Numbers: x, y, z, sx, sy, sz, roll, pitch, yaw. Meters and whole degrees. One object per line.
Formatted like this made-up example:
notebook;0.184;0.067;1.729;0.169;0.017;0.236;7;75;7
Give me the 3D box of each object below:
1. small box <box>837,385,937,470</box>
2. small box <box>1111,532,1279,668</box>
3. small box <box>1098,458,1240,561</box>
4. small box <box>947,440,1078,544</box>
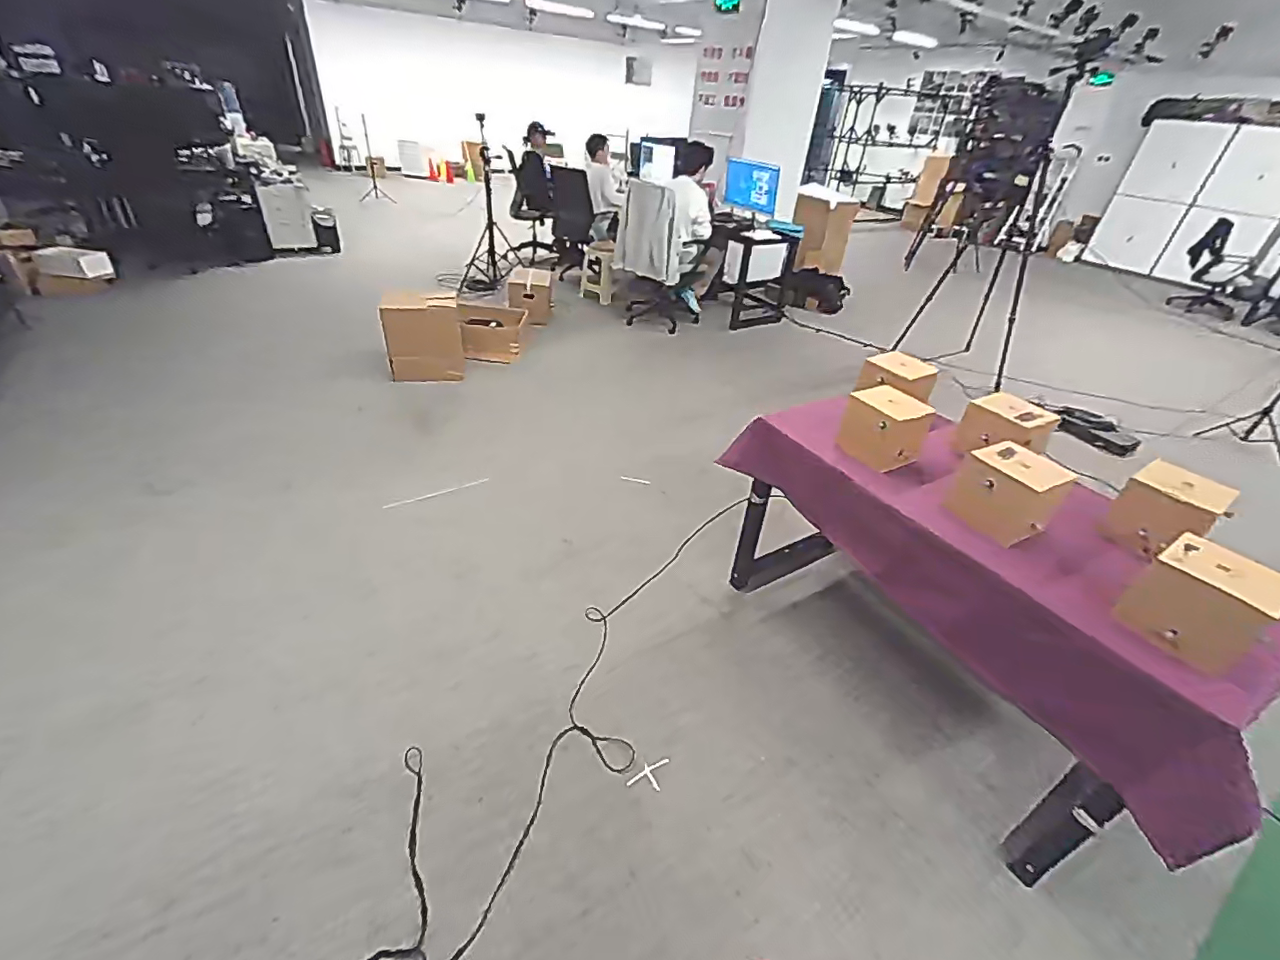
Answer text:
small box;0.698;-0.151;1.550;0.168;0.176;0.179;-15;41;-27
small box;1.081;0.235;1.045;0.168;0.176;0.179;-17;40;-29
small box;1.257;0.075;1.296;0.179;0.176;0.168;-18;41;-30
small box;0.895;0.028;1.319;0.168;0.176;0.179;-14;40;-25
